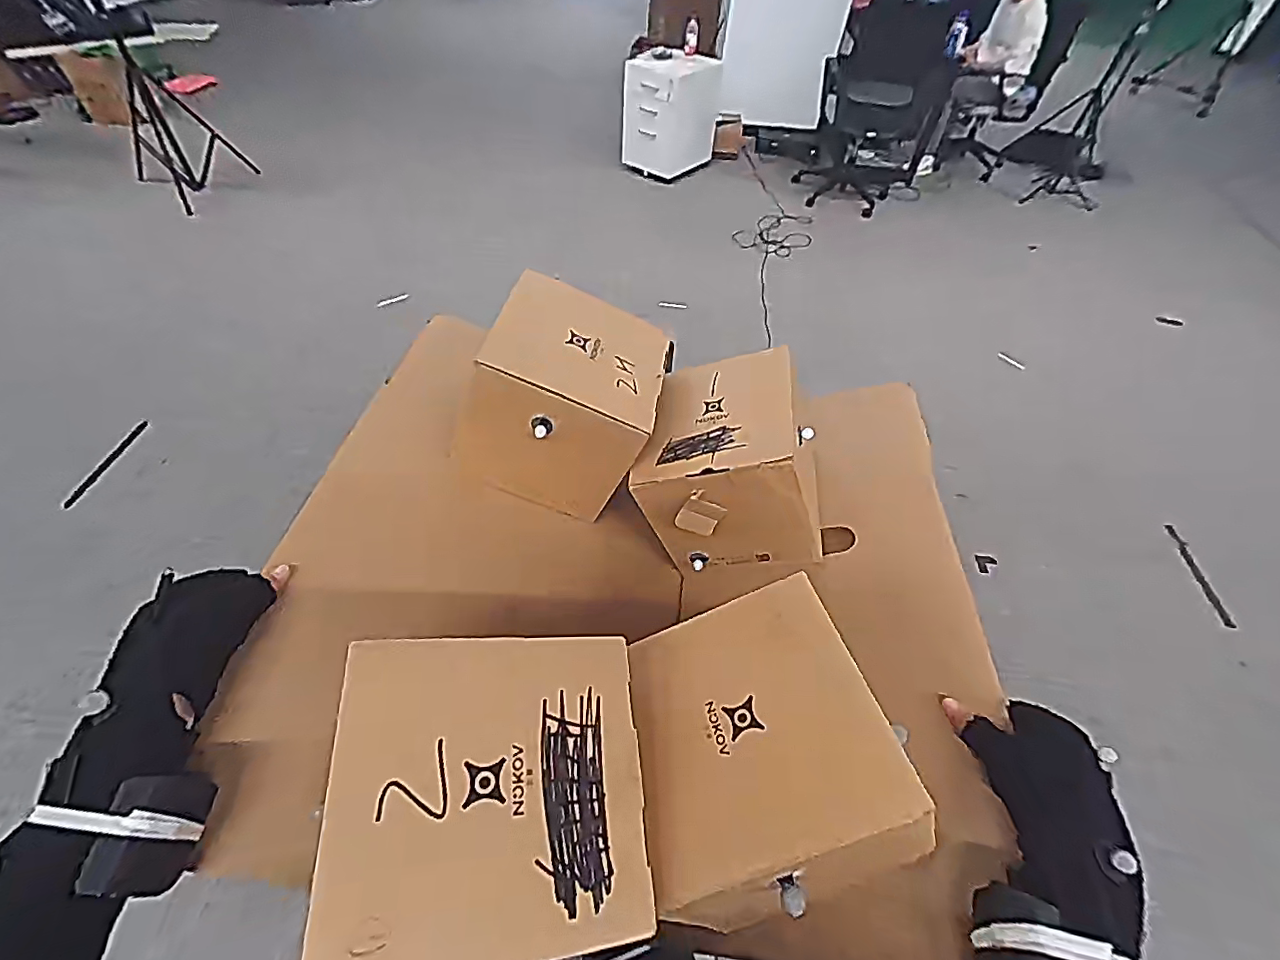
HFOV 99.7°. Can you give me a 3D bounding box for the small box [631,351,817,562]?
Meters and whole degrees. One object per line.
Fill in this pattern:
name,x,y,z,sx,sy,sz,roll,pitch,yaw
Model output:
small box,0.107,-0.016,0.631,0.168,0.176,0.179,-8,45,22
